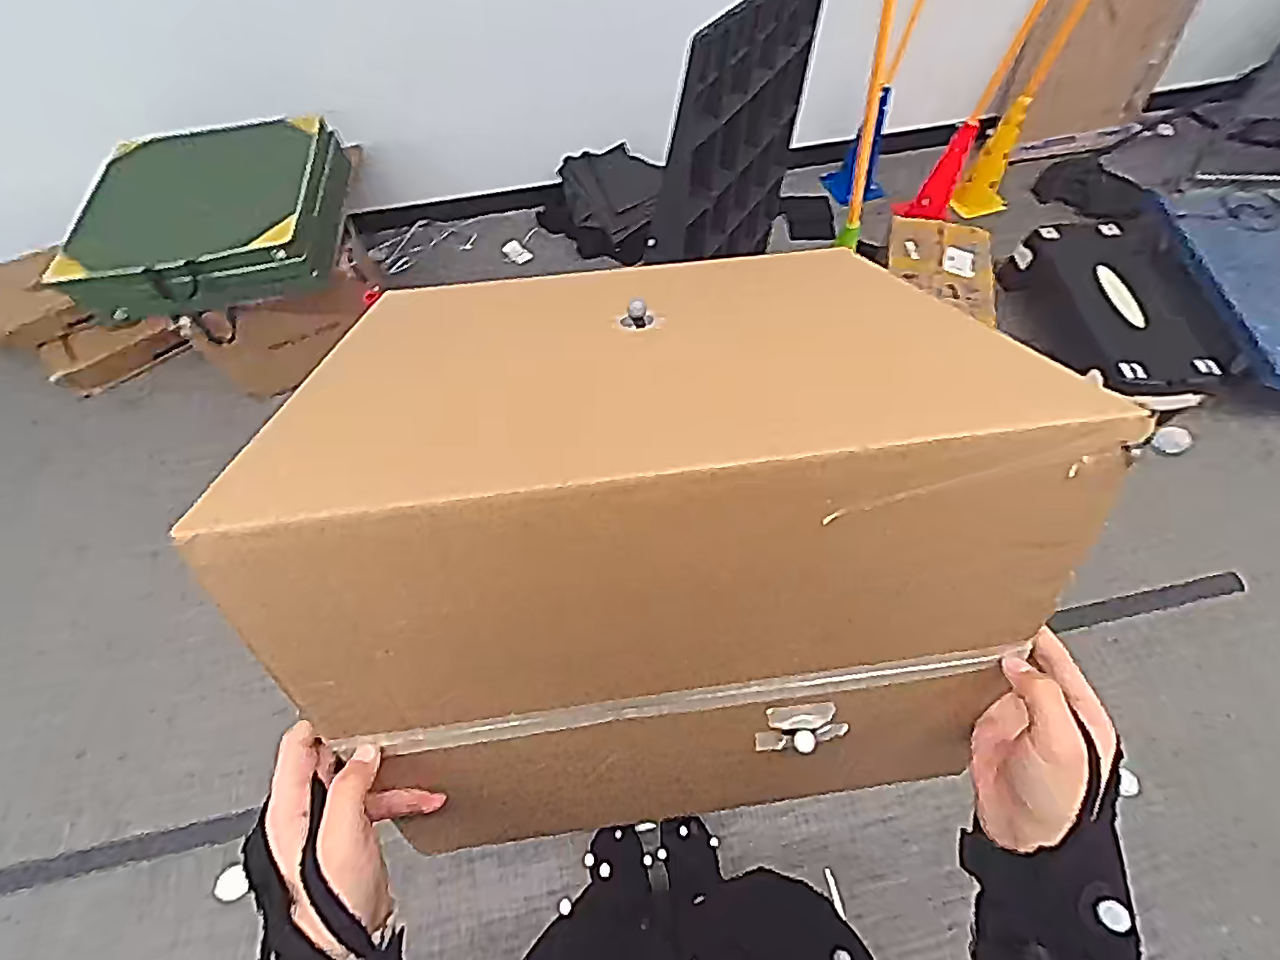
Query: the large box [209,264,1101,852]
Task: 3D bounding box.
[{"bbox_3d":[0.007,0.038,0.440,0.408,0.320,0.320,-8,37,-3],"label":"large box"}]
